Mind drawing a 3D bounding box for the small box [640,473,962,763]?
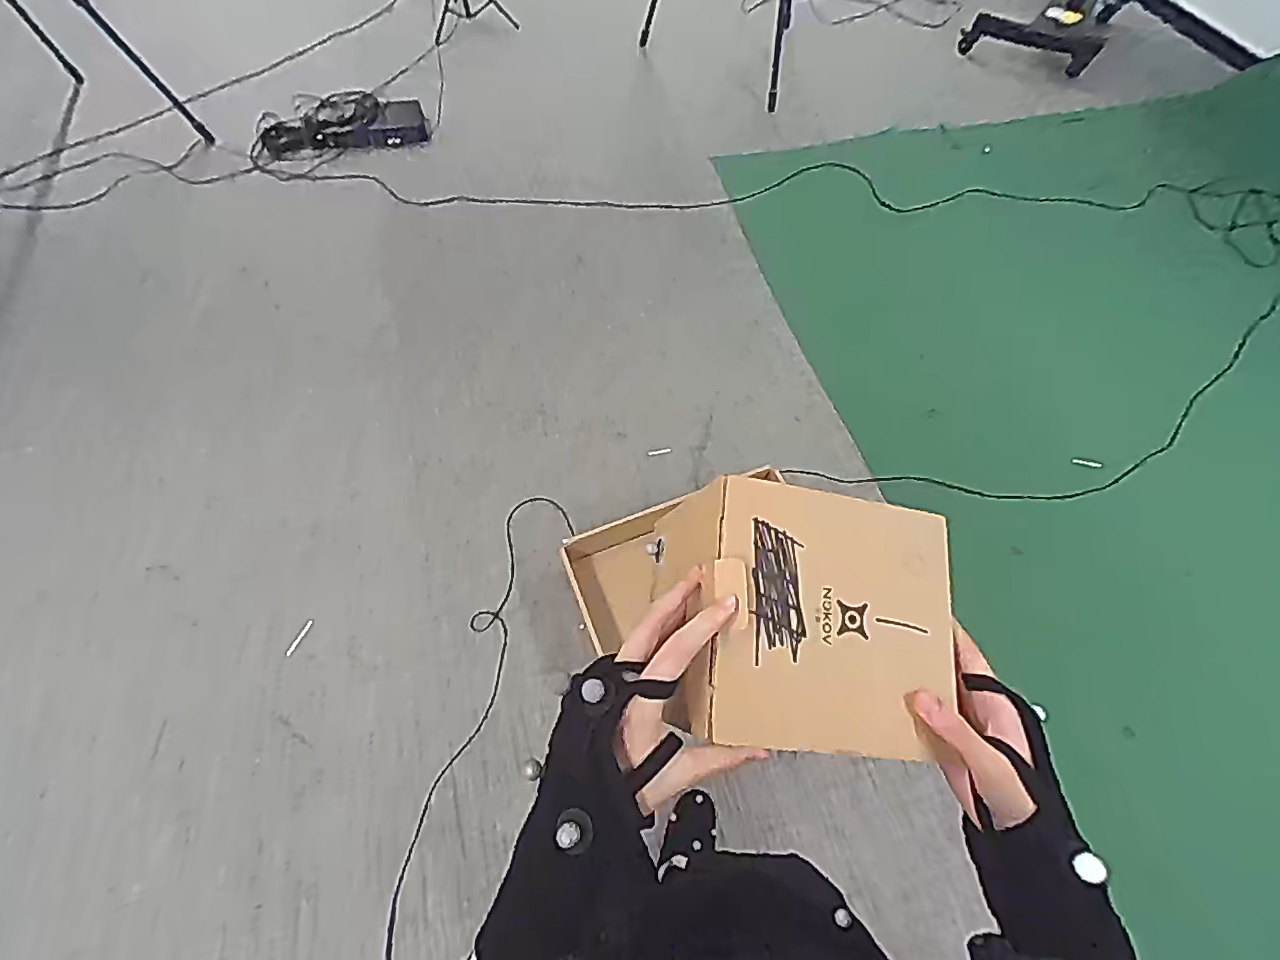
[{"bbox_3d":[0.107,0.110,0.422,0.179,0.176,0.168,11,70,-13],"label":"small box"}]
